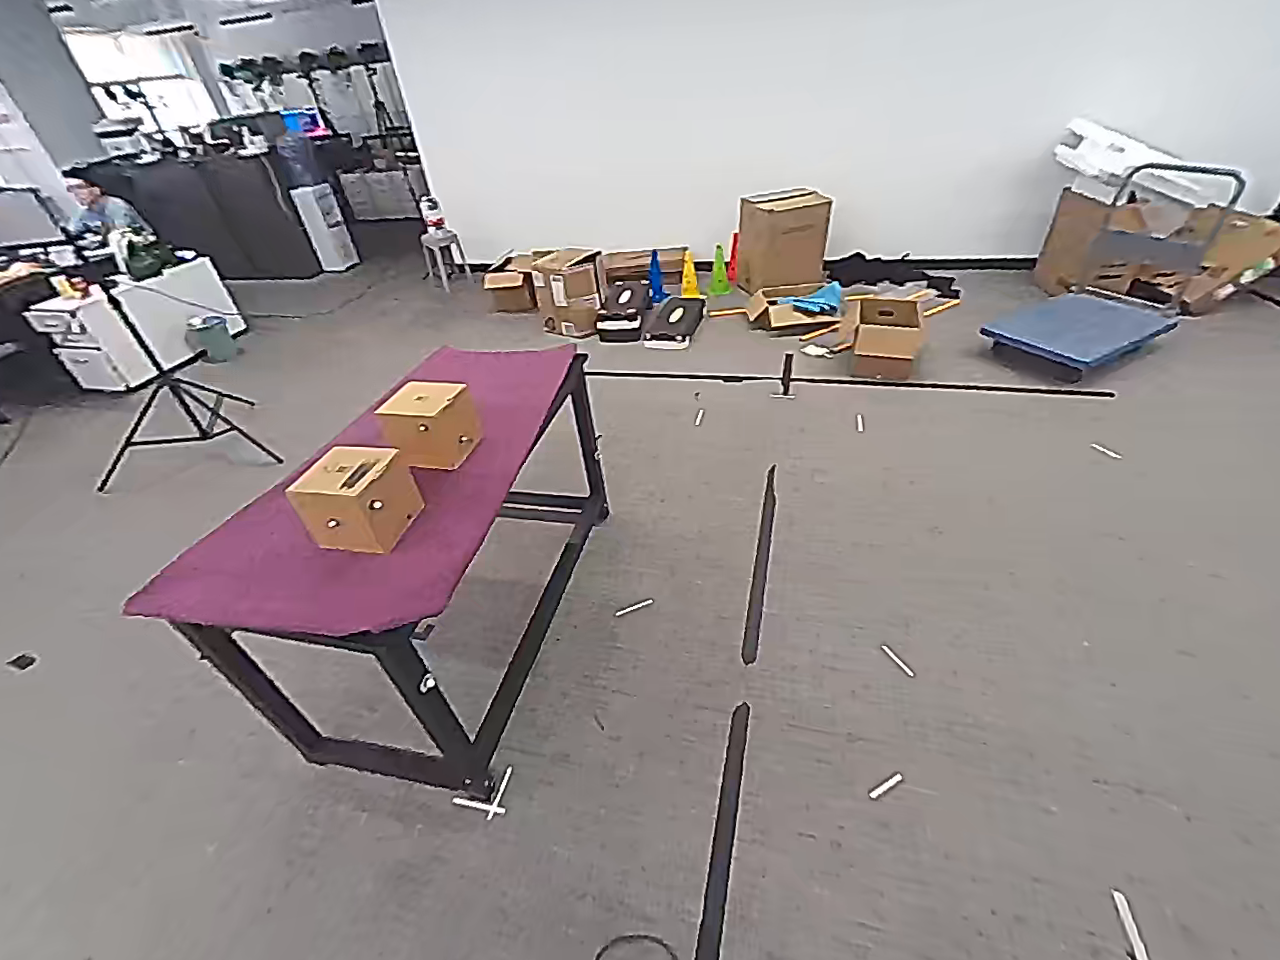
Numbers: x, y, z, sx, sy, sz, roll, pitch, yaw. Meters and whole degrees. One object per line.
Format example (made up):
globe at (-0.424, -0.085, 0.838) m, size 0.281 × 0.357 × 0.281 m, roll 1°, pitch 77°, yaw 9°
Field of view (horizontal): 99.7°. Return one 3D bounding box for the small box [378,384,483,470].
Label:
small box at (-0.548, -0.141, 1.439) m, size 0.179 × 0.176 × 0.168 m, roll 5°, pitch 39°, yaw 13°
